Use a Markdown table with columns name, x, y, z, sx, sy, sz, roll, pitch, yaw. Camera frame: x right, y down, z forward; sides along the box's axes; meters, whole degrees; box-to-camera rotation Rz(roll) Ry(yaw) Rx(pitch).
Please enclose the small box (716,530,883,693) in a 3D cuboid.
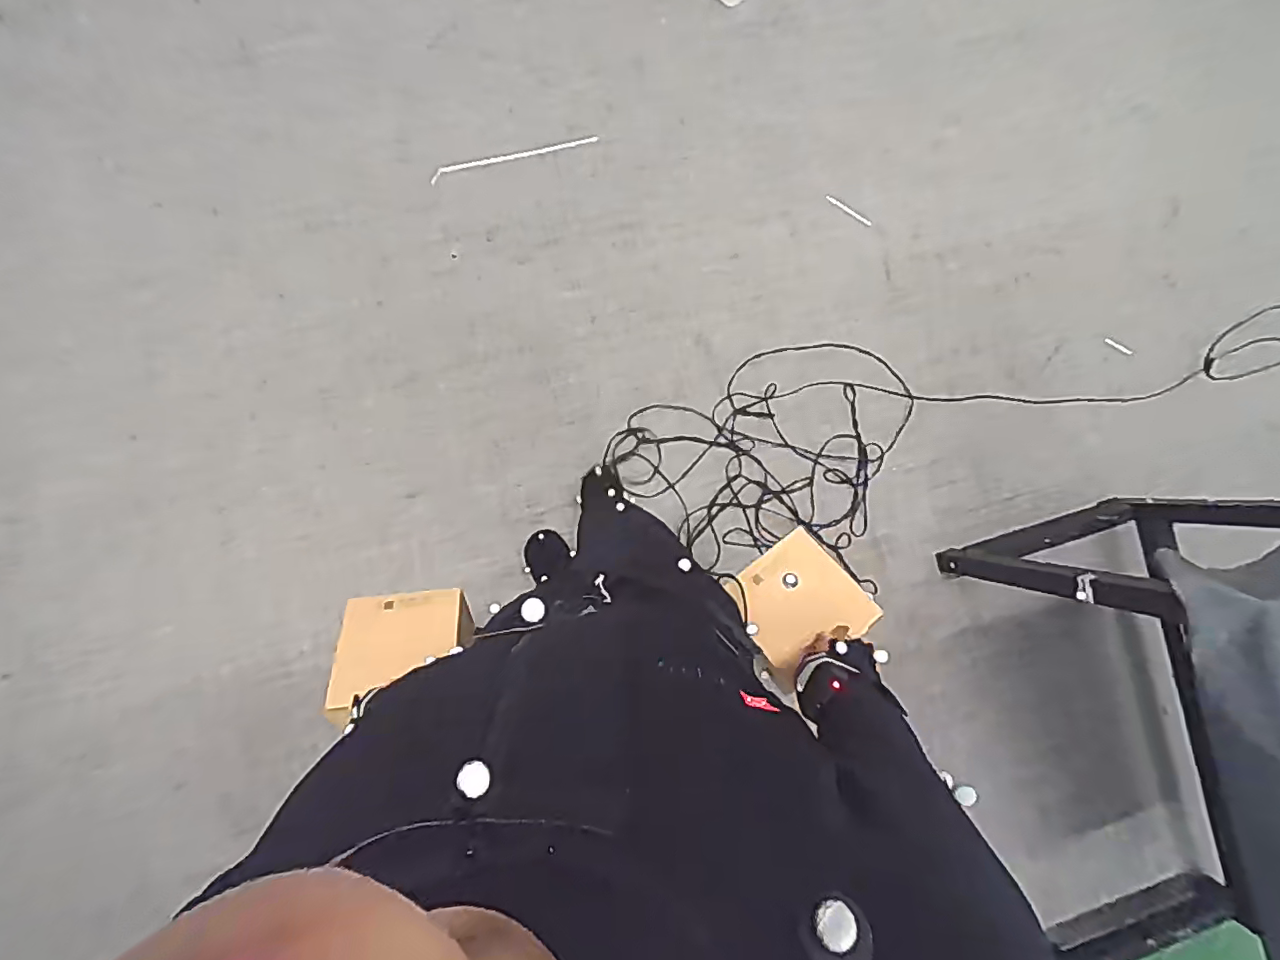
| name | x | y | z | sx | sy | sz | roll | pitch | yaw |
| --- | --- | --- | --- | --- | --- | --- | --- | --- | --- |
| small box | 0.230 | 0.202 | 0.829 | 0.168 | 0.179 | 0.176 | -37 | 66 | -8 |
